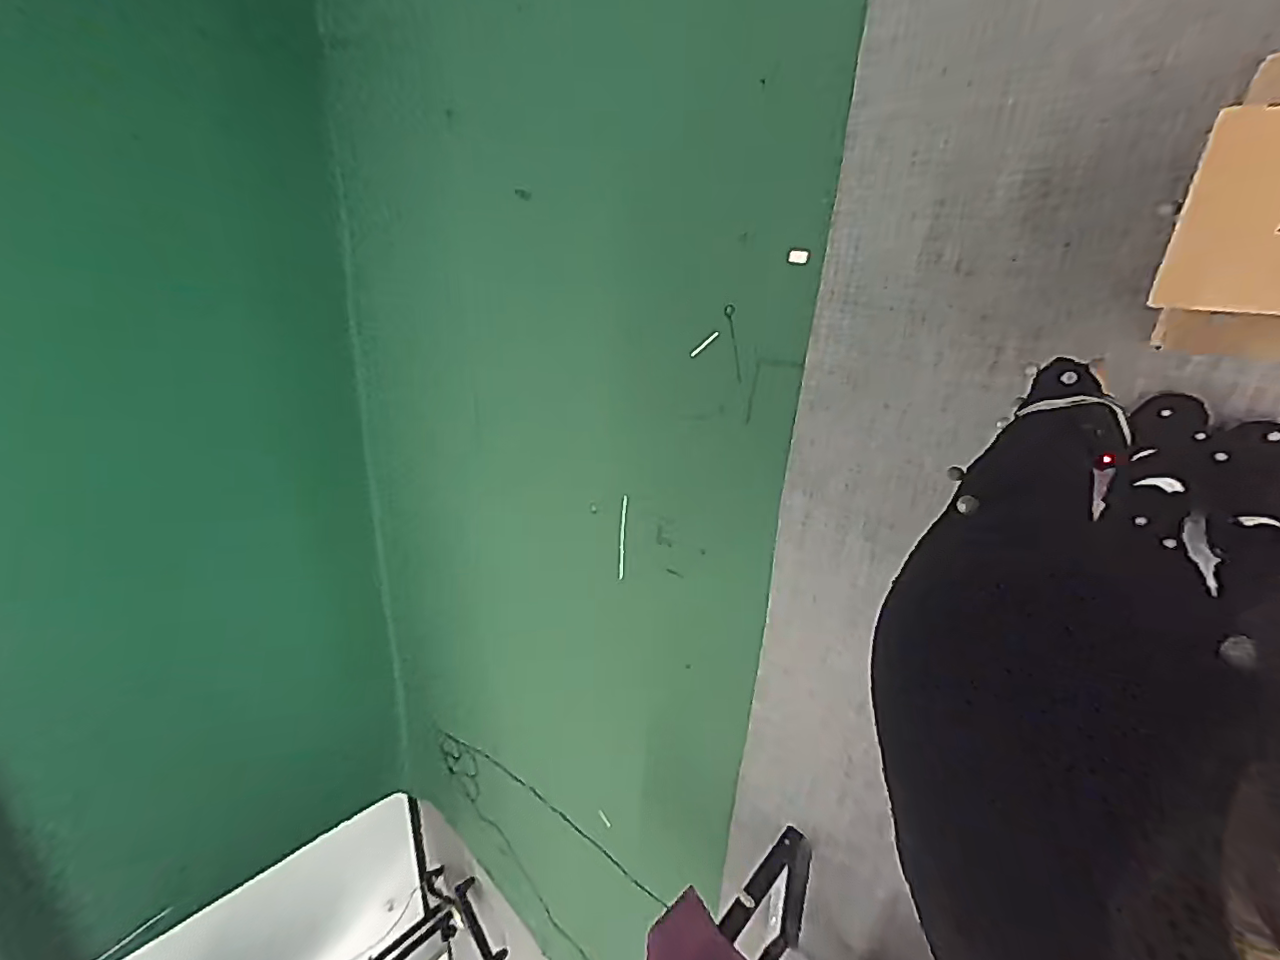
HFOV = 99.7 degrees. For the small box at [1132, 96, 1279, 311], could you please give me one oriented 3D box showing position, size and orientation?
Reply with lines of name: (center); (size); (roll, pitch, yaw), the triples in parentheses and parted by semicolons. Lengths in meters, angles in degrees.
small box: (0.633, -0.266, 0.538); (0.168, 0.176, 0.179); (21, 118, 37)
